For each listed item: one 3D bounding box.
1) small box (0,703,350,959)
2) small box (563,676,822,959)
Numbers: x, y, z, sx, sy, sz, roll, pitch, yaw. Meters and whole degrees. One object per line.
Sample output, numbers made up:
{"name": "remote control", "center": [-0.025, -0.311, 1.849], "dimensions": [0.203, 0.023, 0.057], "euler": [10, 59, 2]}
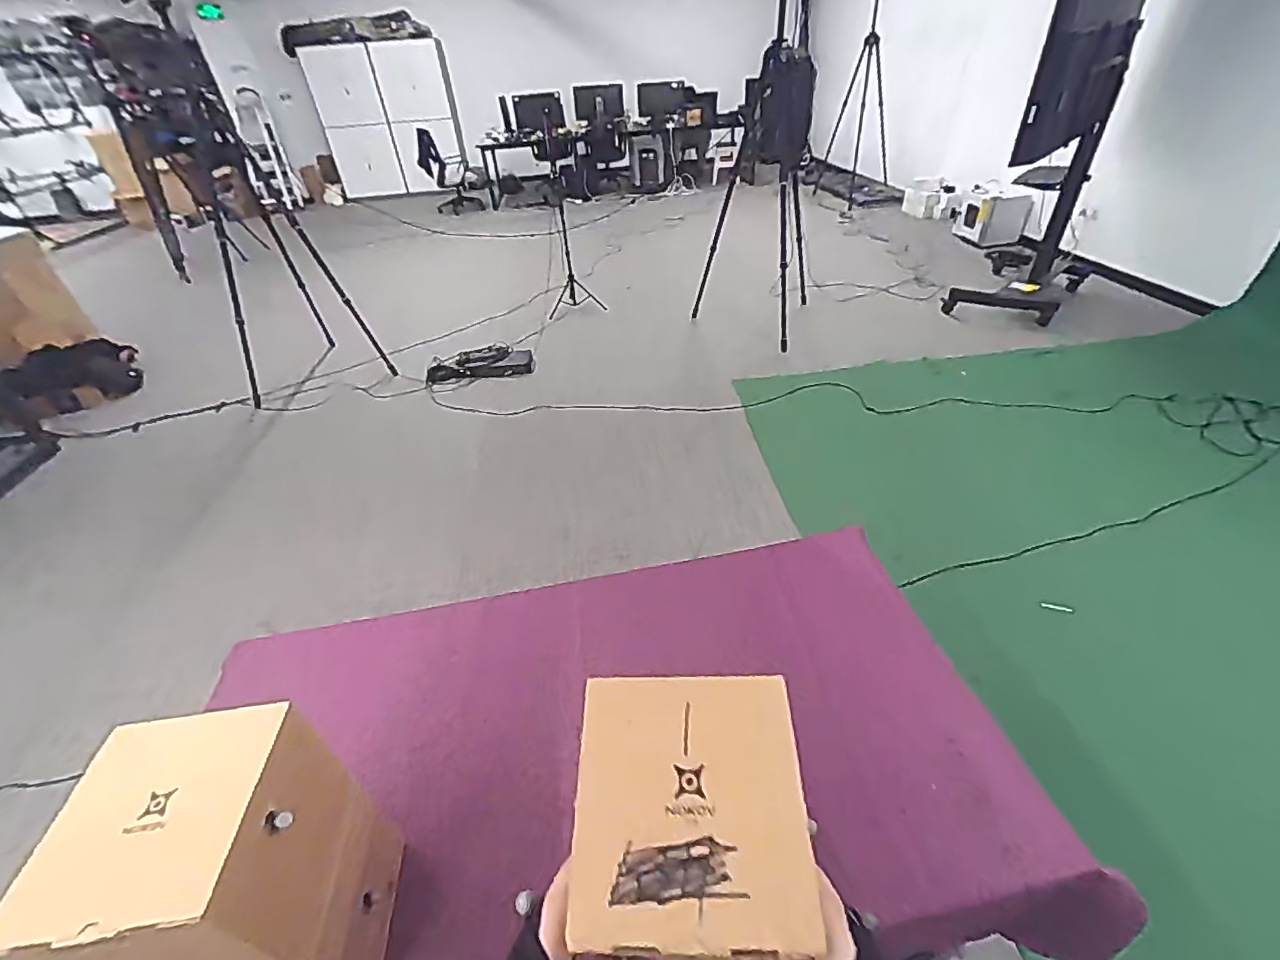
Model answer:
{"name": "small box", "center": [-0.405, 0.345, 0.515], "dimensions": [0.168, 0.176, 0.179], "euler": [-8, 39, -3]}
{"name": "small box", "center": [0.042, 0.280, 0.448], "dimensions": [0.168, 0.176, 0.179], "euler": [-2, 47, 5]}
